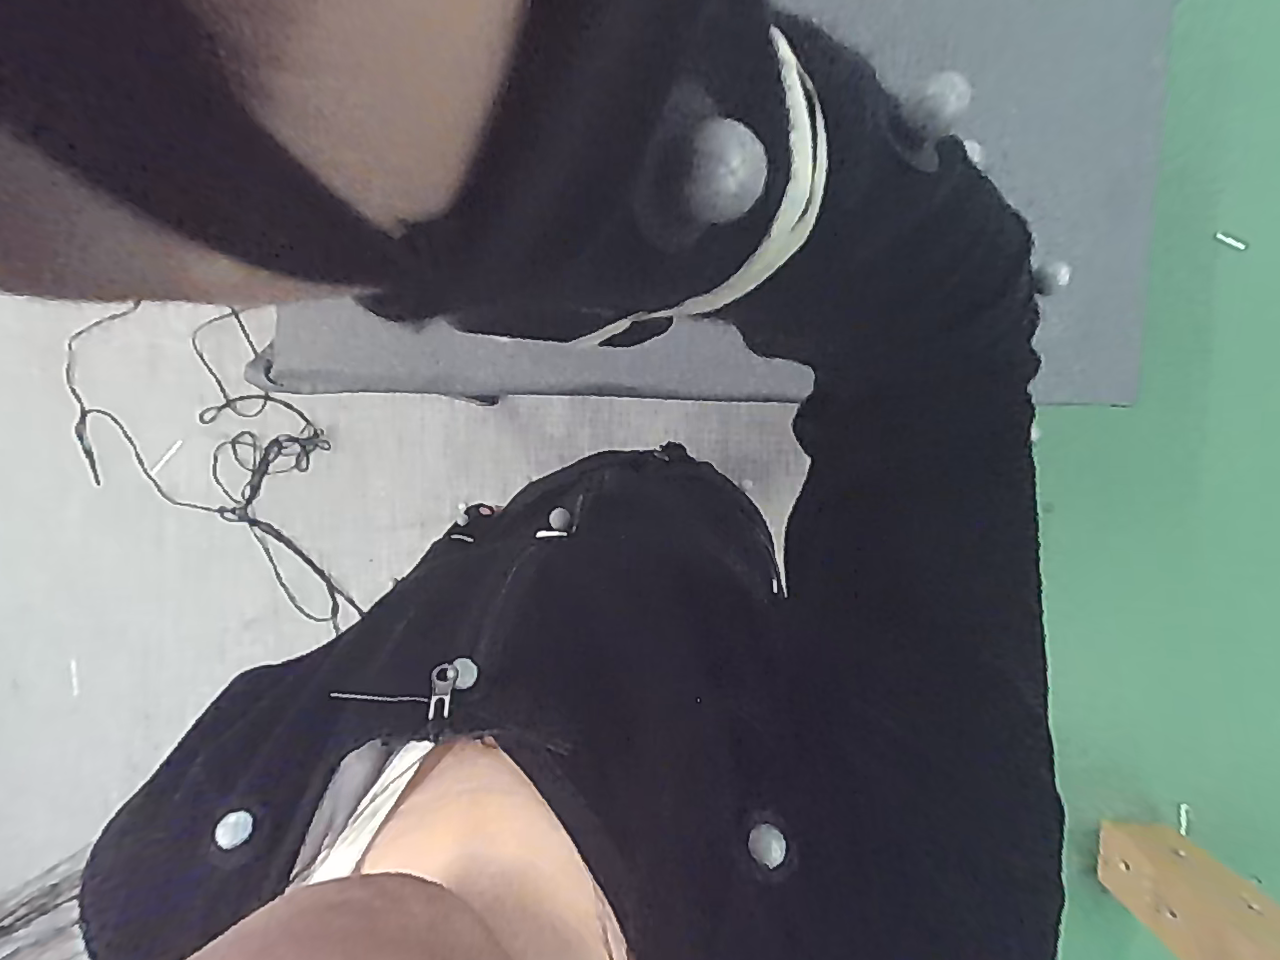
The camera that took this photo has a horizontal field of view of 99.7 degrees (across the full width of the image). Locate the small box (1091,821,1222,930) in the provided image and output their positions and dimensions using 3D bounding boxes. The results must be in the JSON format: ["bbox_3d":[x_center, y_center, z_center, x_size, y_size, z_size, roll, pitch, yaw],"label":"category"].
[{"bbox_3d":[1.284,0.990,1.357,0.179,0.176,0.168,2,91,3],"label":"small box"}]
